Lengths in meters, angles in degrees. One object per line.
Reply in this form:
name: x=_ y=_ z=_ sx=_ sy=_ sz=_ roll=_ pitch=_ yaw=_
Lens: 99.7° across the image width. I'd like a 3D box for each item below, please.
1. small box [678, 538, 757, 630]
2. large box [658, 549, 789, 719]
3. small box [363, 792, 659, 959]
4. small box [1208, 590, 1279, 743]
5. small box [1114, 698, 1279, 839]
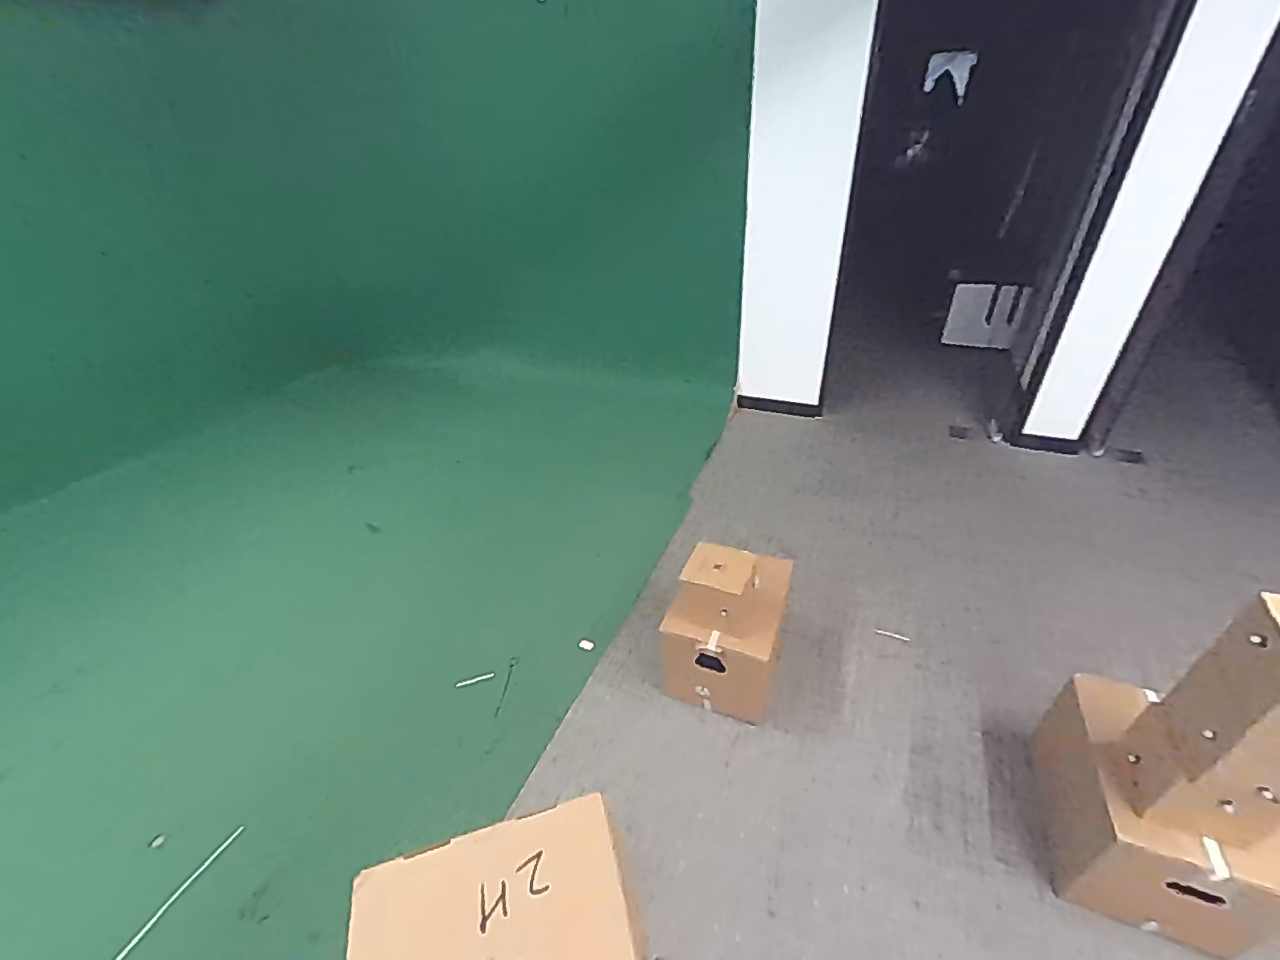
small box: x=0.219 y=0.295 z=1.517 sx=0.179 sy=0.176 sz=0.168 roll=11 pitch=37 yaw=23
large box: x=0.272 y=0.459 z=1.705 sx=0.320 sy=0.320 sz=0.408 roll=11 pitch=37 yaw=20
small box: x=-0.069 y=0.348 z=0.361 sx=0.168 sy=0.176 sz=0.179 roll=-14 pitch=44 yaw=-8
small box: x=1.074 y=0.312 z=0.861 sx=0.168 sy=0.176 sz=0.179 roll=11 pitch=40 yaw=22
small box: x=1.093 y=0.570 z=1.065 sx=0.179 sy=0.176 sz=0.168 roll=9 pitch=38 yaw=19
